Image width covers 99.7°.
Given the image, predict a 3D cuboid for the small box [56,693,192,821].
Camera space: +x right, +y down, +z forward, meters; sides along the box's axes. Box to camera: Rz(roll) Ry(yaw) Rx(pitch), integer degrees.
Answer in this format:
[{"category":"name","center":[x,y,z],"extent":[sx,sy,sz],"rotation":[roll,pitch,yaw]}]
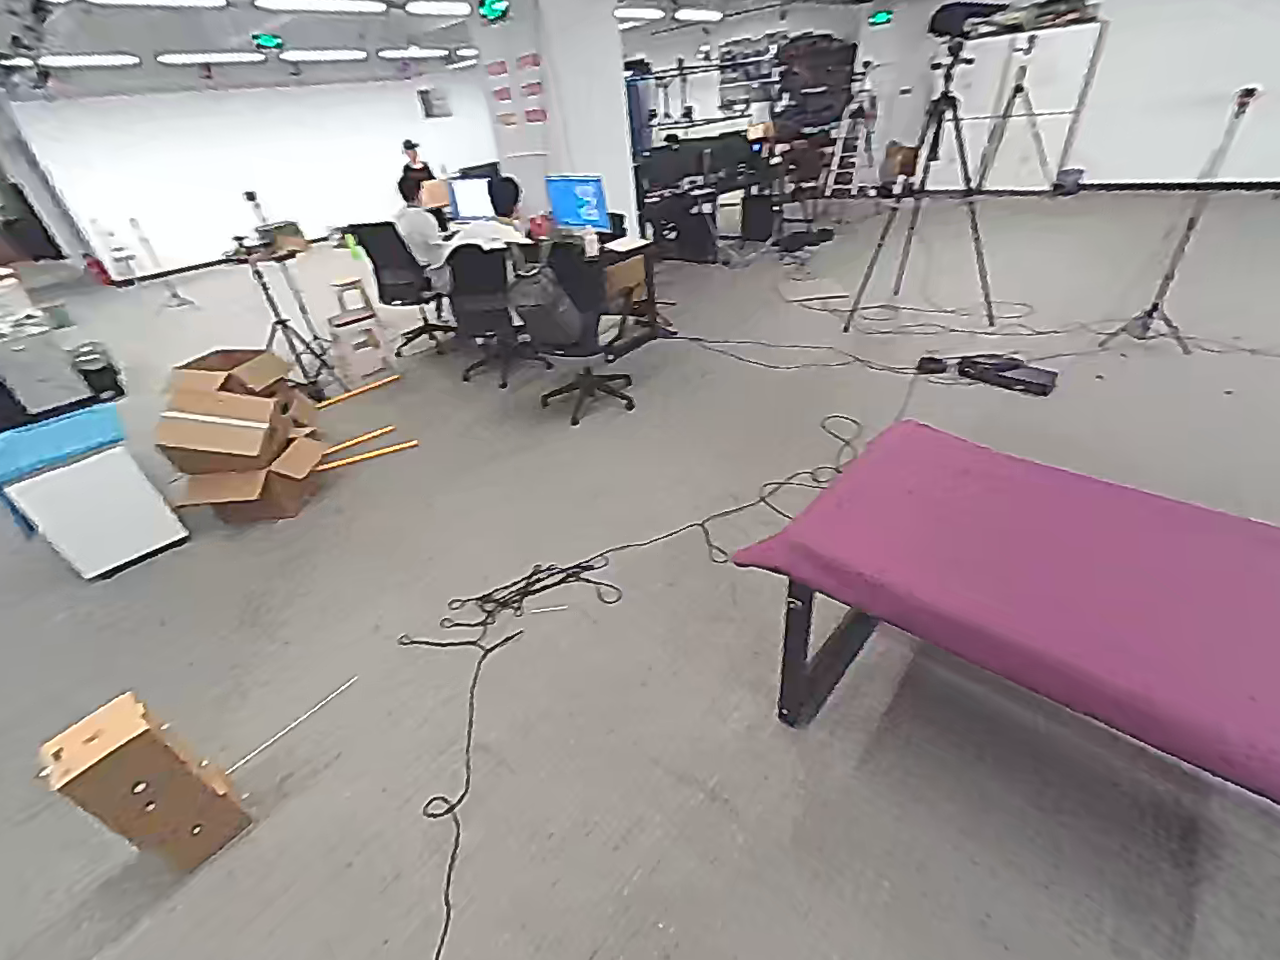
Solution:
[{"category":"small box","center":[-1.224,0.662,1.297],"extent":[0.168,0.176,0.179],"rotation":[21,43,35]}]

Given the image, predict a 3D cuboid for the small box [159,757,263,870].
[{"category":"small box","center":[-1.195,0.922,1.494],"extent":[0.168,0.176,0.179],"rotation":[22,44,36]}]

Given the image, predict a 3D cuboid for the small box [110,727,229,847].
[{"category":"small box","center":[-1.220,0.793,1.396],"extent":[0.168,0.176,0.179],"rotation":[23,45,35]}]
